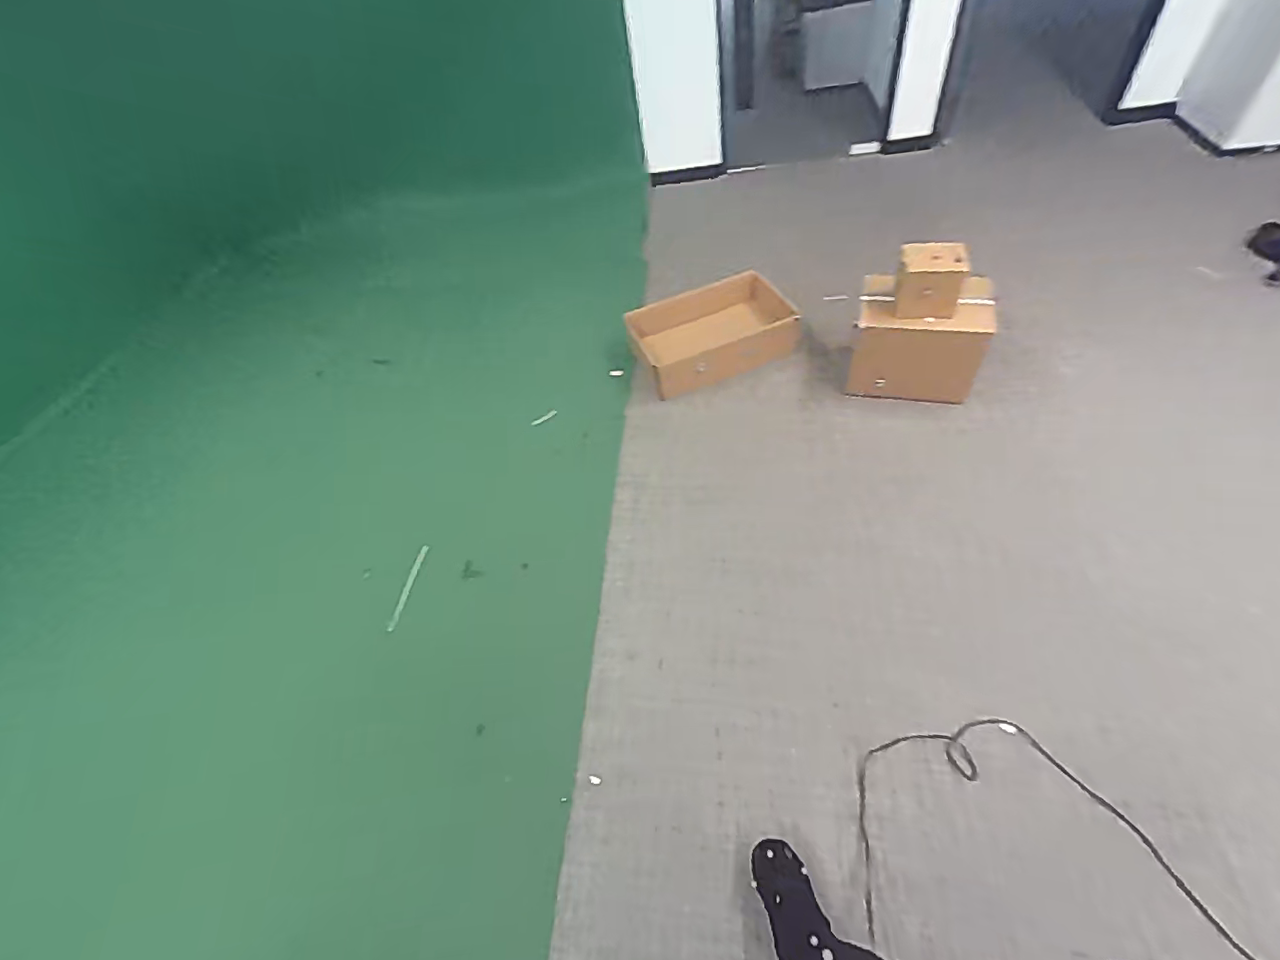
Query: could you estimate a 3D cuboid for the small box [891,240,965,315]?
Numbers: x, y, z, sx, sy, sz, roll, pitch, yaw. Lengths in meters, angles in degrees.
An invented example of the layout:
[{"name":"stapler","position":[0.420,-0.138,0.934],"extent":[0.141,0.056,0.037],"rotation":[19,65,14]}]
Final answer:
[{"name":"small box","position":[0.919,-0.649,1.745],"extent":[0.179,0.176,0.168],"rotation":[3,53,15]}]
